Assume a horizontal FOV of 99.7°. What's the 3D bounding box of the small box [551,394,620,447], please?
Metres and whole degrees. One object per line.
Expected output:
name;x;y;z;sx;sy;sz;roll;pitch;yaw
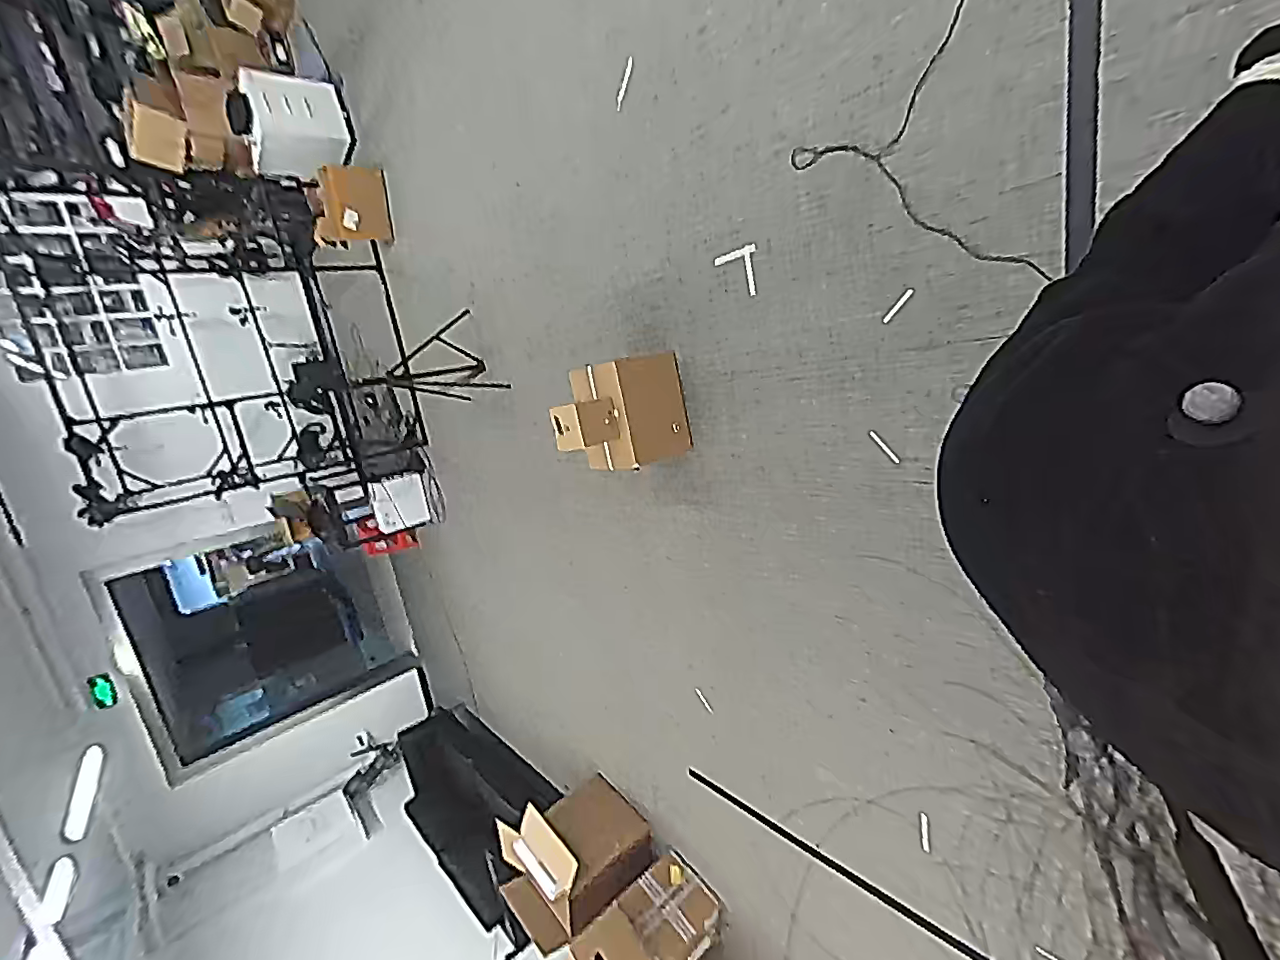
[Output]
small box;-0.202;-0.220;2.017;0.179;0.176;0.168;0;106;49
